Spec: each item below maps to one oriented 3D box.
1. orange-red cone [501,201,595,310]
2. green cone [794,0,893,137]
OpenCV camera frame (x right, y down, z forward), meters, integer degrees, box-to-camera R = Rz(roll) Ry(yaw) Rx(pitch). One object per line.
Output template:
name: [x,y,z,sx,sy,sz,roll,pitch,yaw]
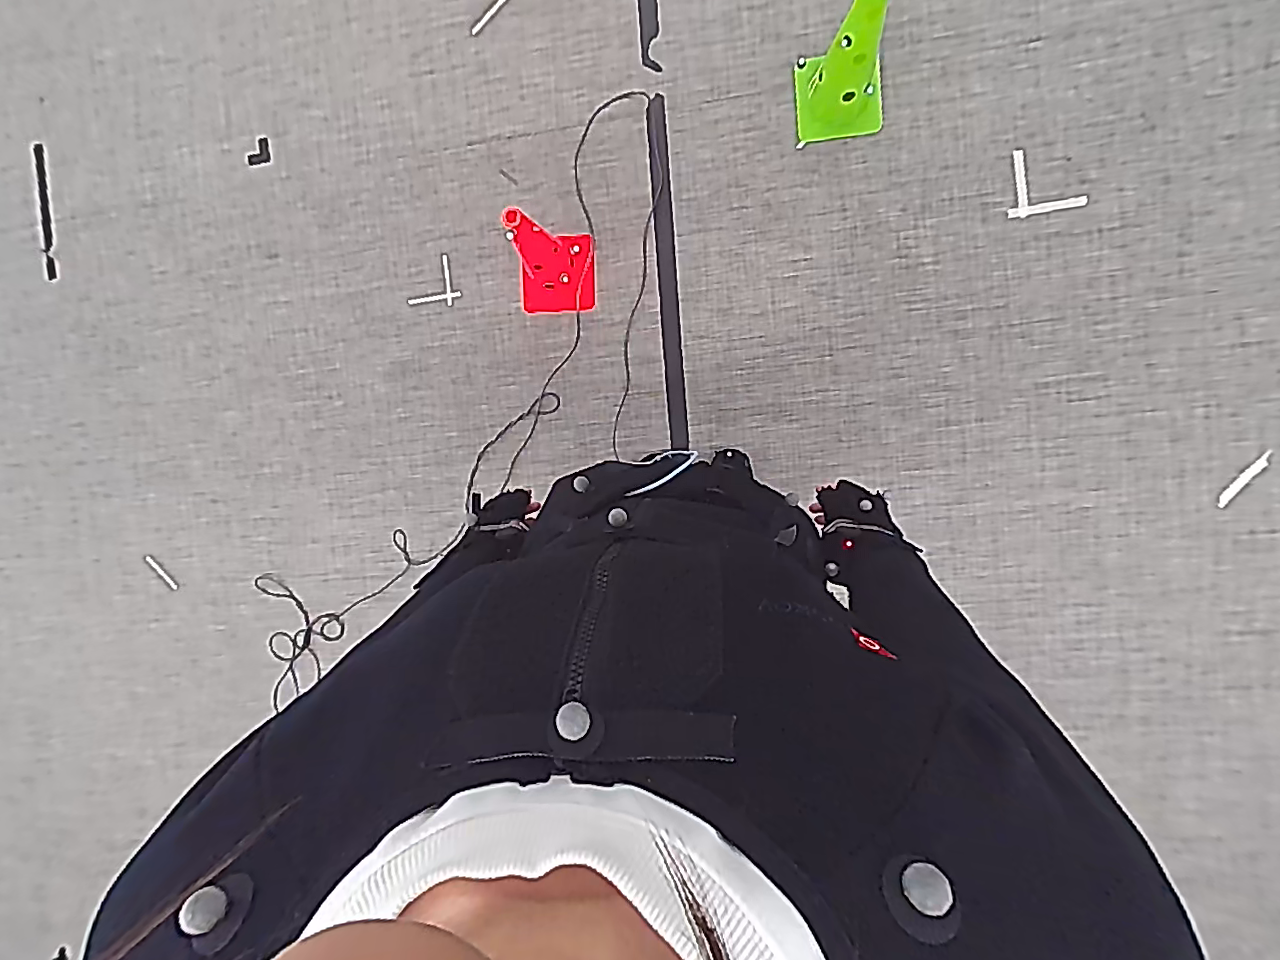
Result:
orange-red cone: [-0.241,-0.546,1.258,0.199,0.360,0.198,0,92,8]
green cone: [0.464,-0.936,1.146,0.202,0.368,0.200,-4,93,6]
